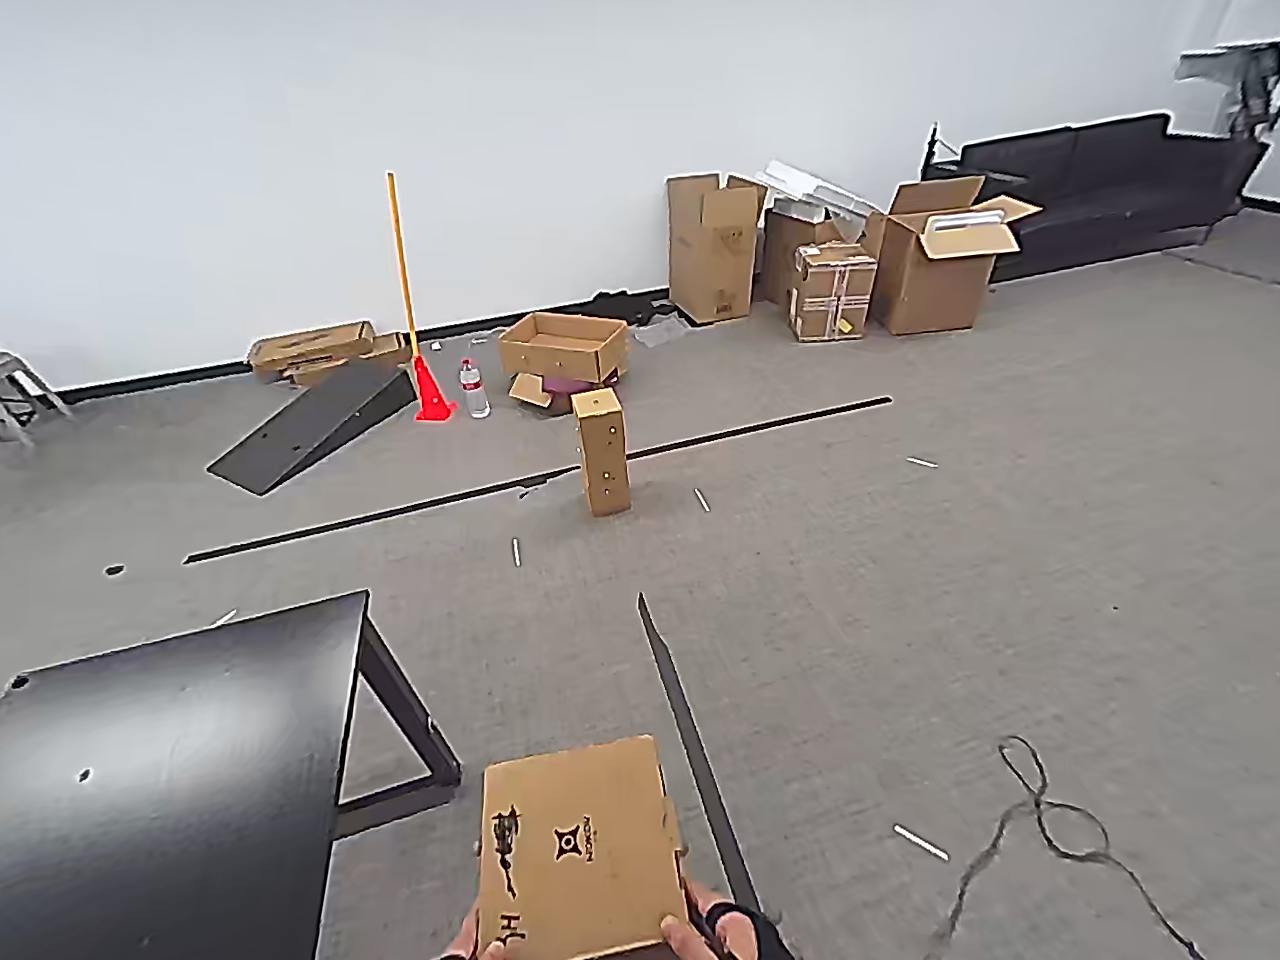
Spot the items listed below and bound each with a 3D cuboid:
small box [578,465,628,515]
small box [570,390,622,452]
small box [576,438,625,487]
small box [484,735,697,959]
[{"bbox_3d":[-0.157,0.029,2.310,0.179,0.176,0.168,-12,40,-10],"label":"small box"},{"bbox_3d":[-0.170,-0.224,2.104,0.168,0.176,0.179,-12,39,-11],"label":"small box"},{"bbox_3d":[-0.162,-0.096,2.204,0.168,0.176,0.179,-13,40,-10],"label":"small box"},{"bbox_3d":[-0.049,0.385,0.544,0.179,0.176,0.168,-8,42,-6],"label":"small box"}]
